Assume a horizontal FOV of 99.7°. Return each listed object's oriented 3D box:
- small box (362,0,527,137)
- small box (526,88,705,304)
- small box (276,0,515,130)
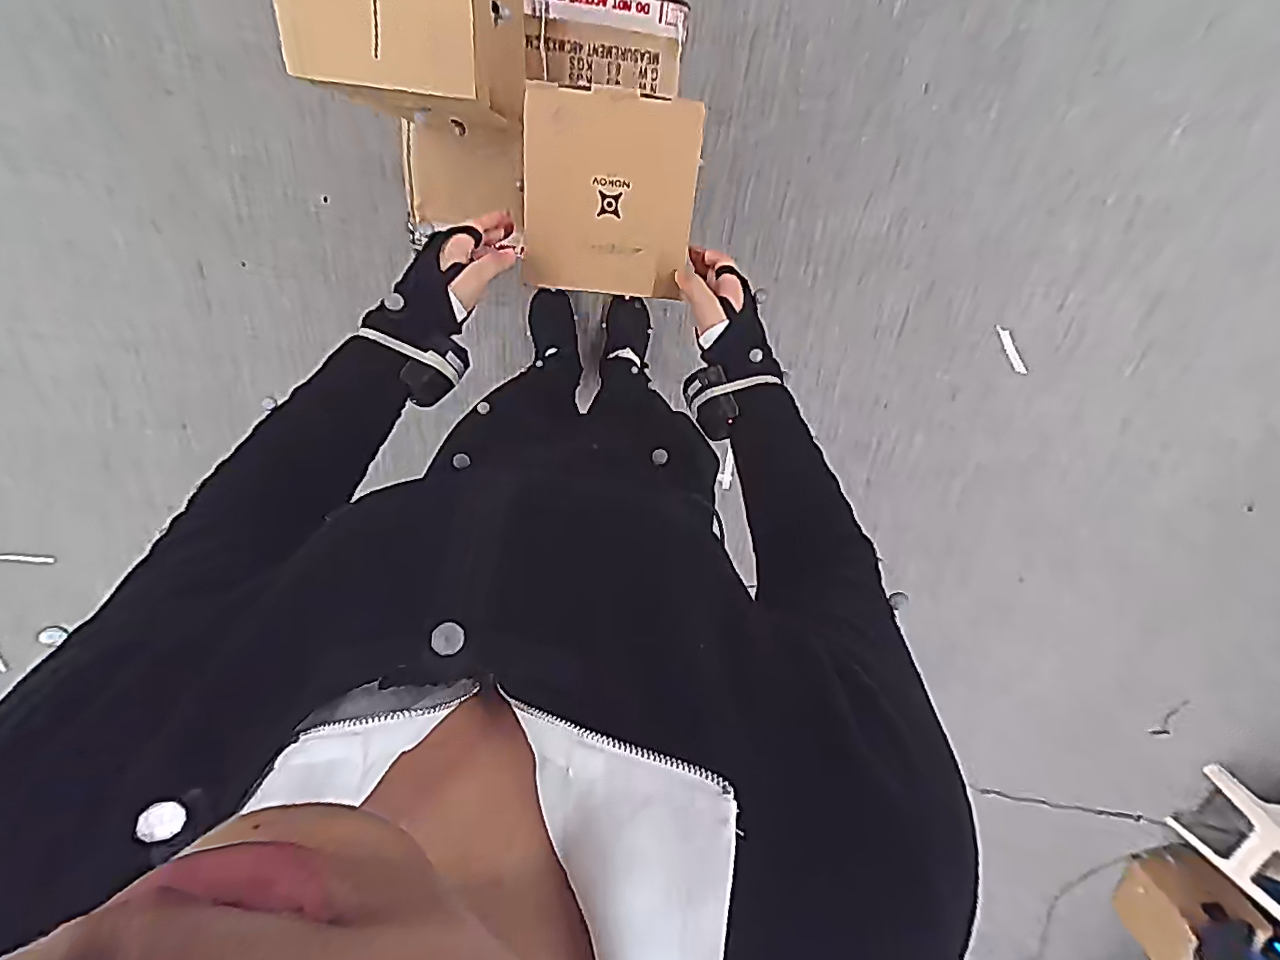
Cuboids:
[{"bbox_3d":[-0.233,-0.530,0.652,0.168,0.176,0.179,2,118,-1],"label":"small box"},{"bbox_3d":[-0.031,-0.303,0.593,0.168,0.176,0.179,3,118,-3],"label":"small box"},{"bbox_3d":[-0.216,-0.450,0.508,0.168,0.176,0.179,5,118,-3],"label":"small box"}]
